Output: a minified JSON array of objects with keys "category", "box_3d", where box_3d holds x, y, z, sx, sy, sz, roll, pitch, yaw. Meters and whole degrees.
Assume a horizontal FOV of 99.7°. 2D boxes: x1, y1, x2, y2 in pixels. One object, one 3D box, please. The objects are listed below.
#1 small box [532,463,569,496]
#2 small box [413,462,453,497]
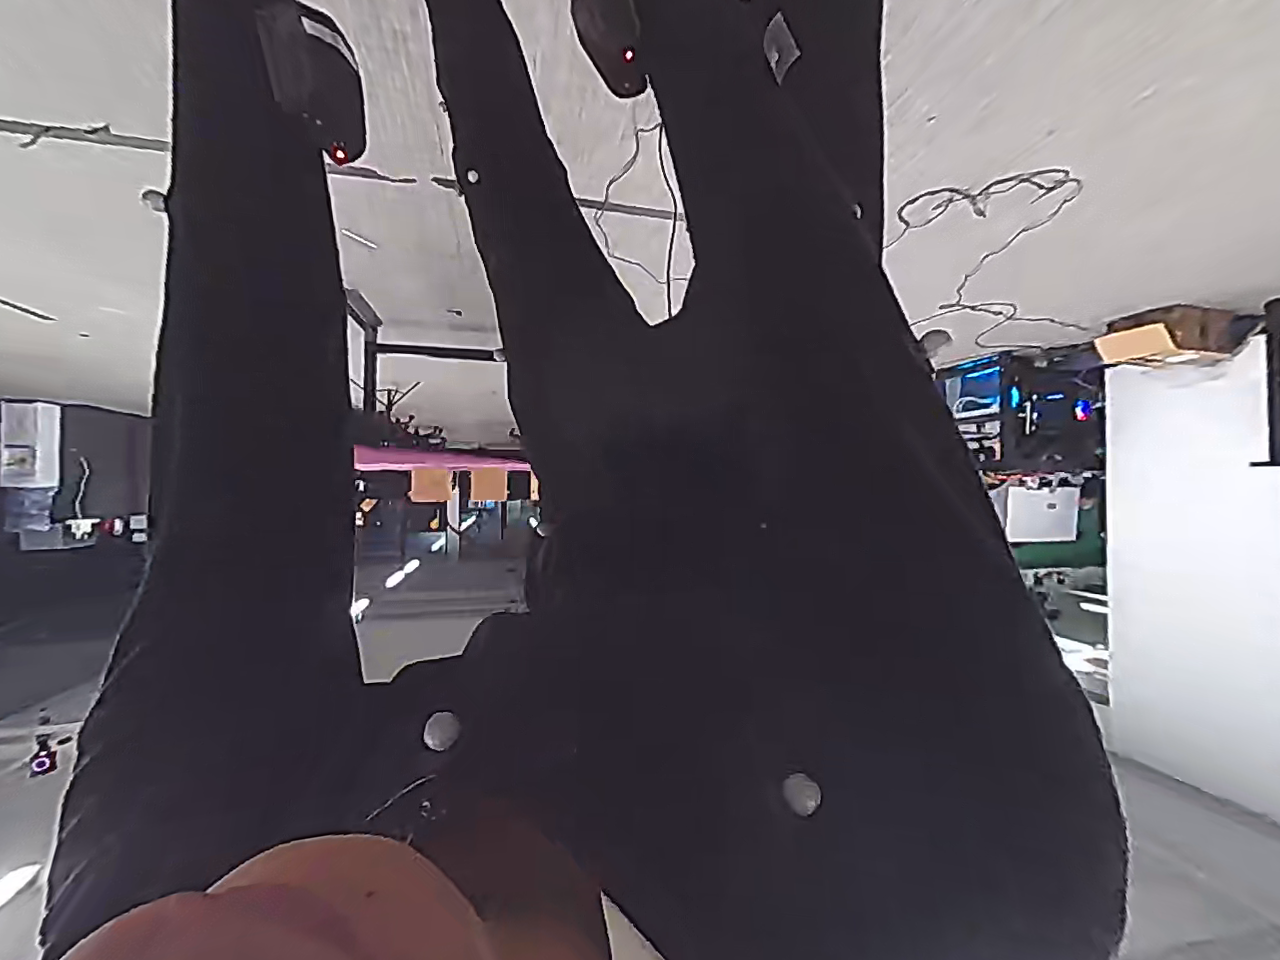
[{"category":"small box","box_3d":[-0.473,-0.004,2.831,0.168,0.176,0.179,0,179,-20]},{"category":"small box","box_3d":[-1.043,-0.002,2.724,0.179,0.176,0.168,-1,177,-15]}]
